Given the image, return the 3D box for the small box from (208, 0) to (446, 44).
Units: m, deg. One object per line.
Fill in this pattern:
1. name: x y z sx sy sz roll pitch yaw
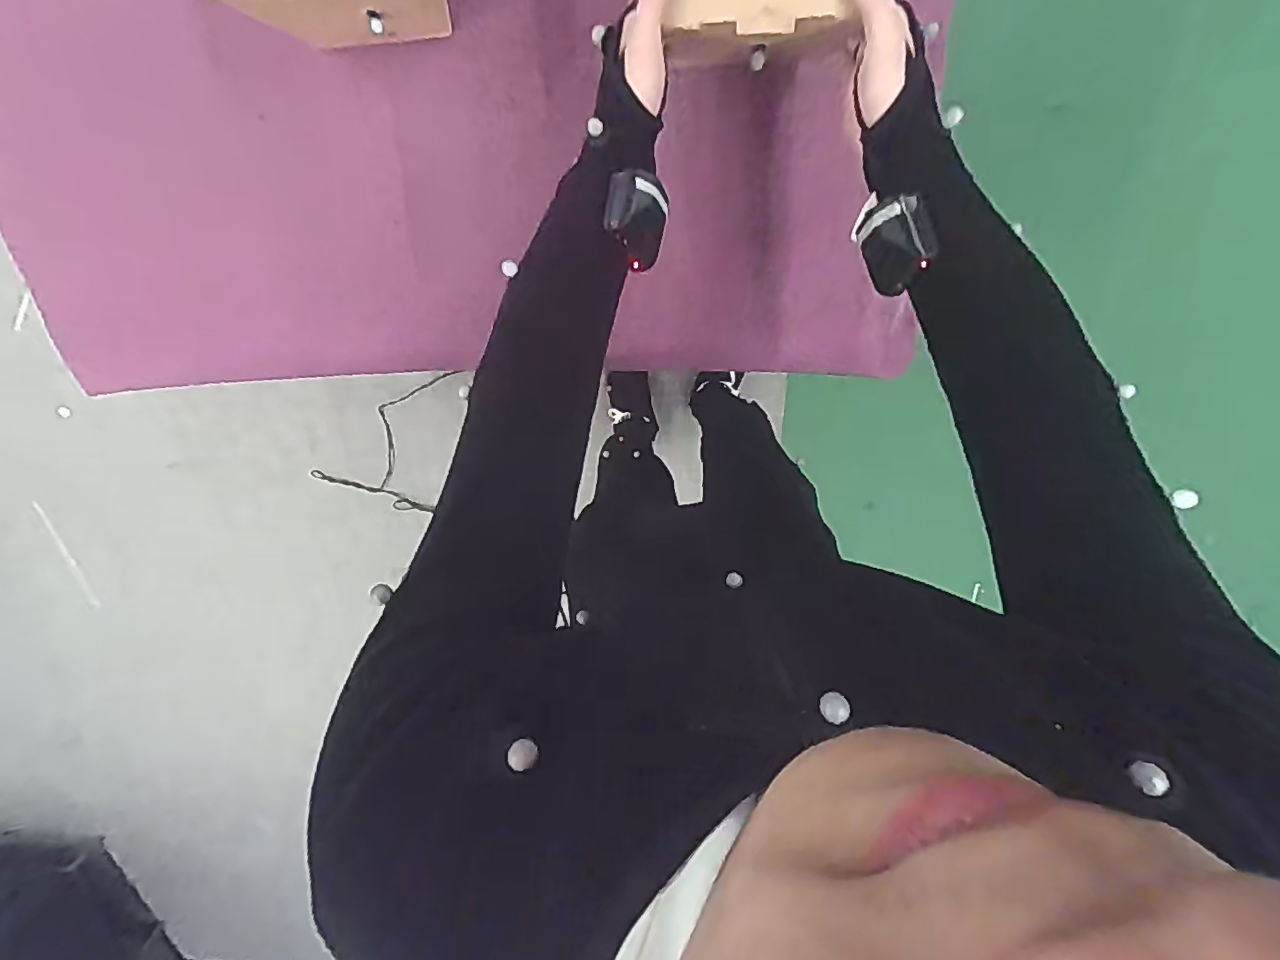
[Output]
1. small box: -0.304 -0.540 0.510 0.168 0.176 0.179 -1 116 6

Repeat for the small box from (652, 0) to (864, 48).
1. small box: 0.101 -0.474 0.442 0.168 0.176 0.179 2 121 8
